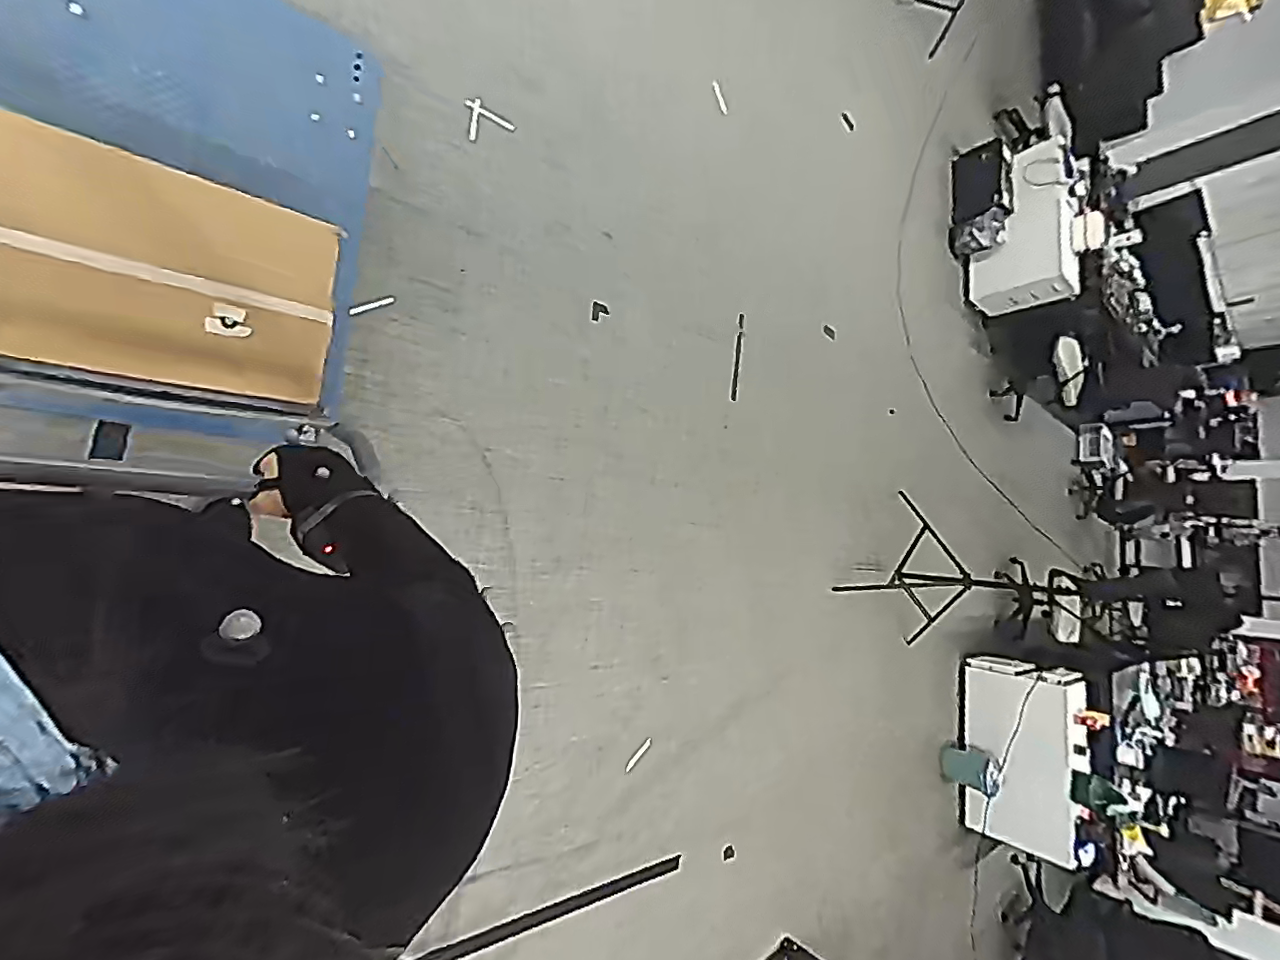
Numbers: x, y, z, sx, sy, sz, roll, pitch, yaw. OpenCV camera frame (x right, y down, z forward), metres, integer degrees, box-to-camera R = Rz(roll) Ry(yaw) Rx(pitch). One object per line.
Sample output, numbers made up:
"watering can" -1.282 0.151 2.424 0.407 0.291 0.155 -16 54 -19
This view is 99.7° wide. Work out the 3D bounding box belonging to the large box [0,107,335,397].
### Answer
"large box" -0.796 -0.329 0.929 0.408 0.320 0.320 7 93 -40
